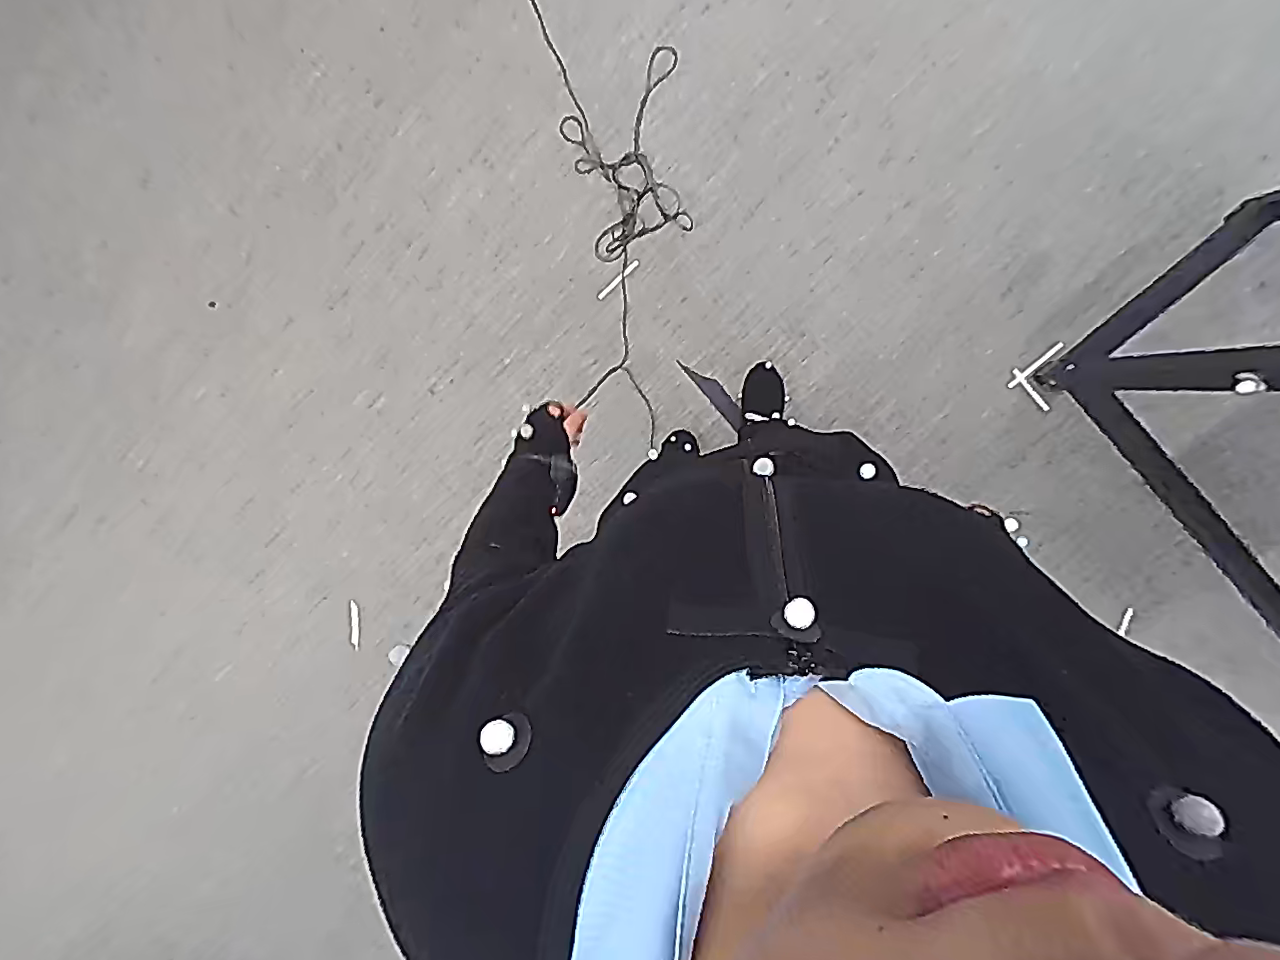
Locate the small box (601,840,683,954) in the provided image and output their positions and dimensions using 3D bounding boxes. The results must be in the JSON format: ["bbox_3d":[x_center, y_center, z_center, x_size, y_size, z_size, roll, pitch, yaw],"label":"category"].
[{"bbox_3d":[0.011,1.222,1.597,0.179,0.176,0.168,-44,91,11],"label":"small box"}]
